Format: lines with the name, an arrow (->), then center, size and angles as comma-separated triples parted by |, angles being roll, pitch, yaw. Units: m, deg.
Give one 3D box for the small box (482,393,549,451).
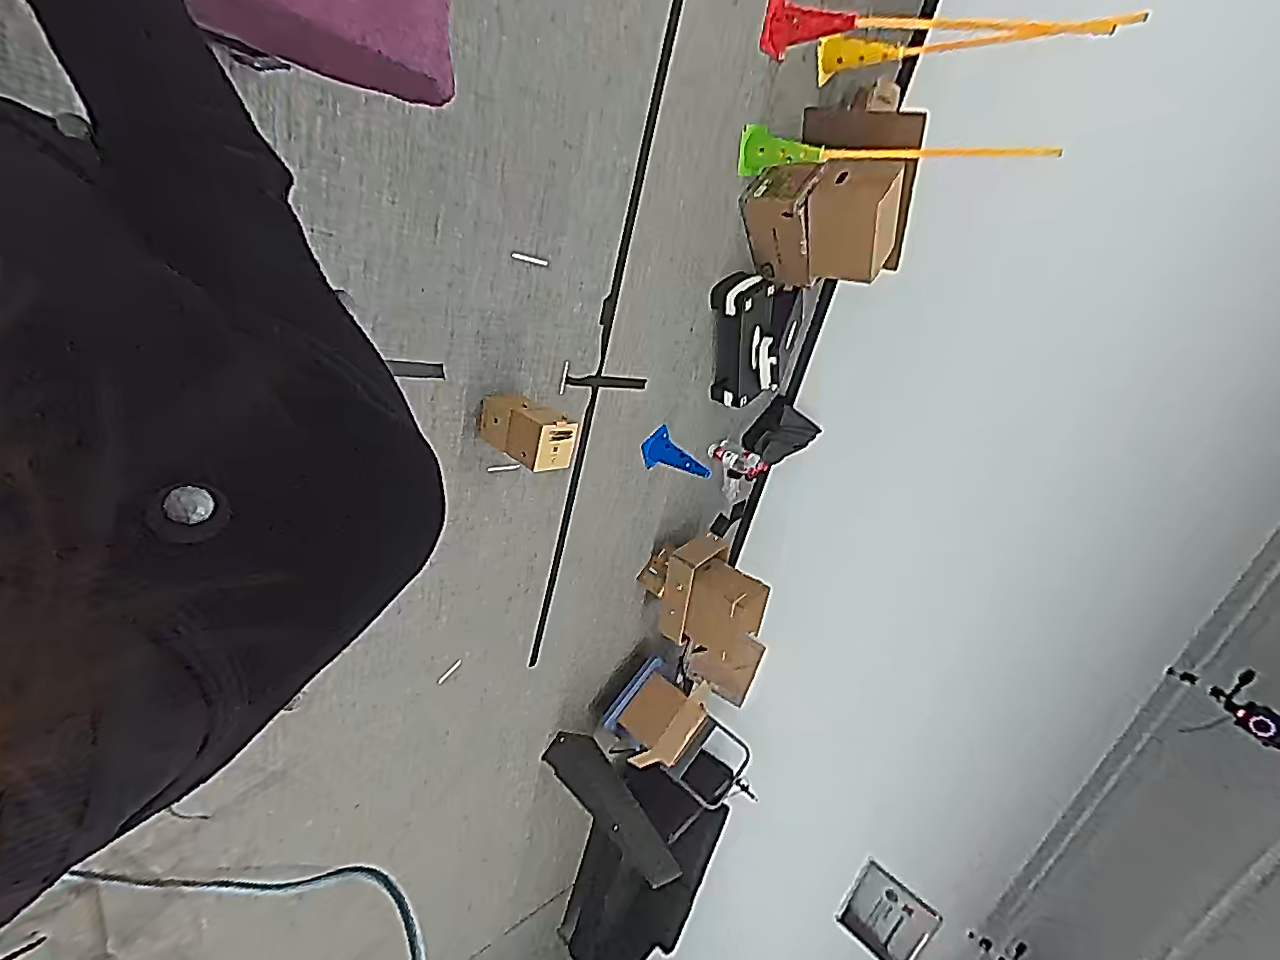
small box -> -0.468, -0.220, 2.011 | 0.179, 0.176, 0.168 | -15, 126, -47
